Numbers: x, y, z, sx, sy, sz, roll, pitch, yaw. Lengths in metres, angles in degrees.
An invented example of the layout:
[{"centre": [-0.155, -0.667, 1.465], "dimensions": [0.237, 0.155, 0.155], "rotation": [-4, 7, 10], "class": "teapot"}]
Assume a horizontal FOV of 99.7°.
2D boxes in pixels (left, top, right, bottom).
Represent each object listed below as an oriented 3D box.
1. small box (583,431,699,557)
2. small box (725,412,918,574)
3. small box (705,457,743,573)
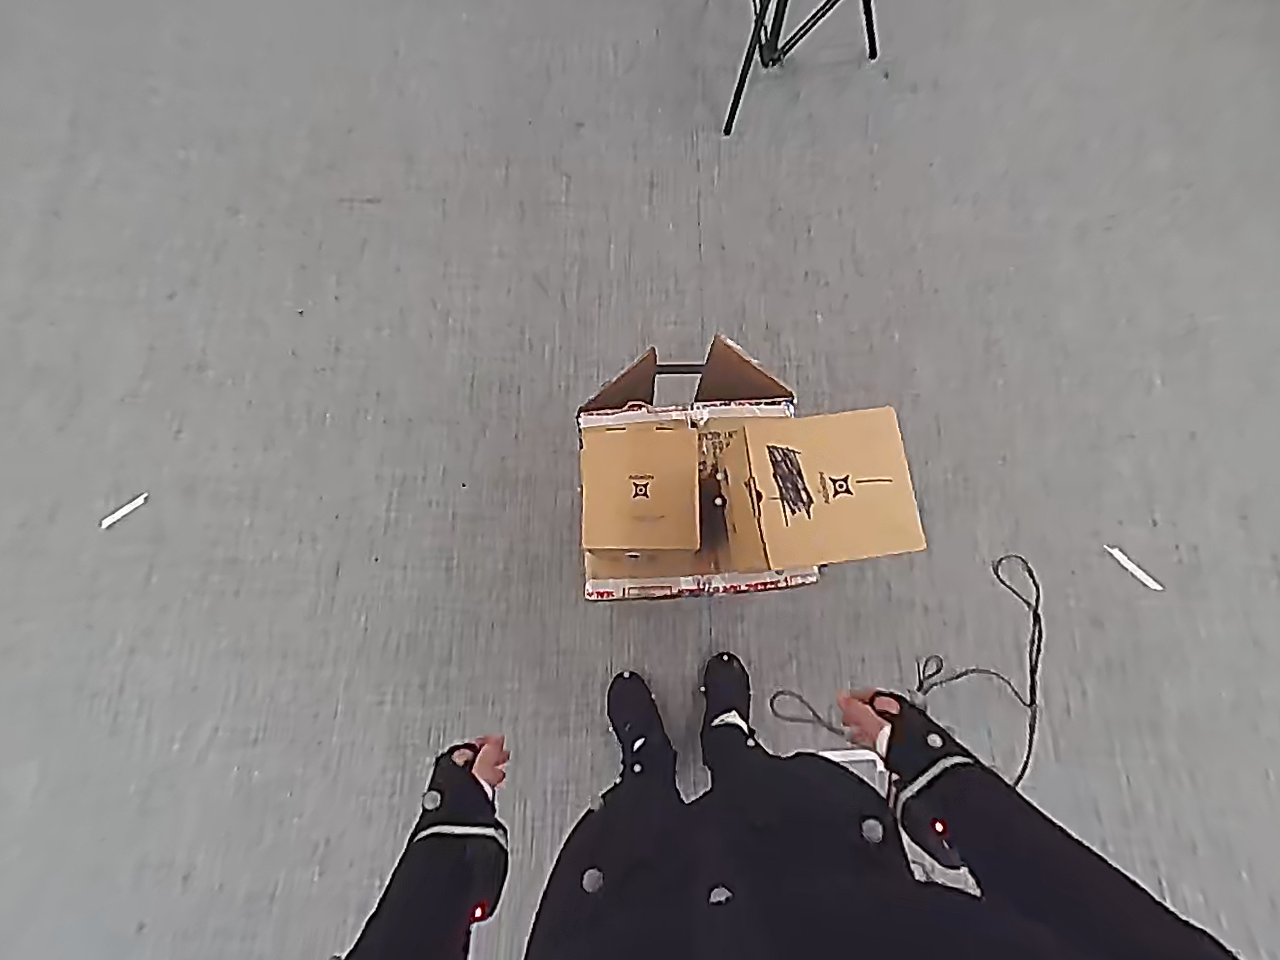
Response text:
[{"centre": [0.003, 0.030, 0.847], "dimensions": [0.168, 0.176, 0.179], "rotation": [-1, 80, 2], "class": "small box"}, {"centre": [0.208, 0.026, 0.679], "dimensions": [0.179, 0.176, 0.168], "rotation": [-7, 80, -2], "class": "small box"}, {"centre": [0.208, 0.052, 0.844], "dimensions": [0.179, 0.176, 0.168], "rotation": [-8, 80, -2], "class": "small box"}]
